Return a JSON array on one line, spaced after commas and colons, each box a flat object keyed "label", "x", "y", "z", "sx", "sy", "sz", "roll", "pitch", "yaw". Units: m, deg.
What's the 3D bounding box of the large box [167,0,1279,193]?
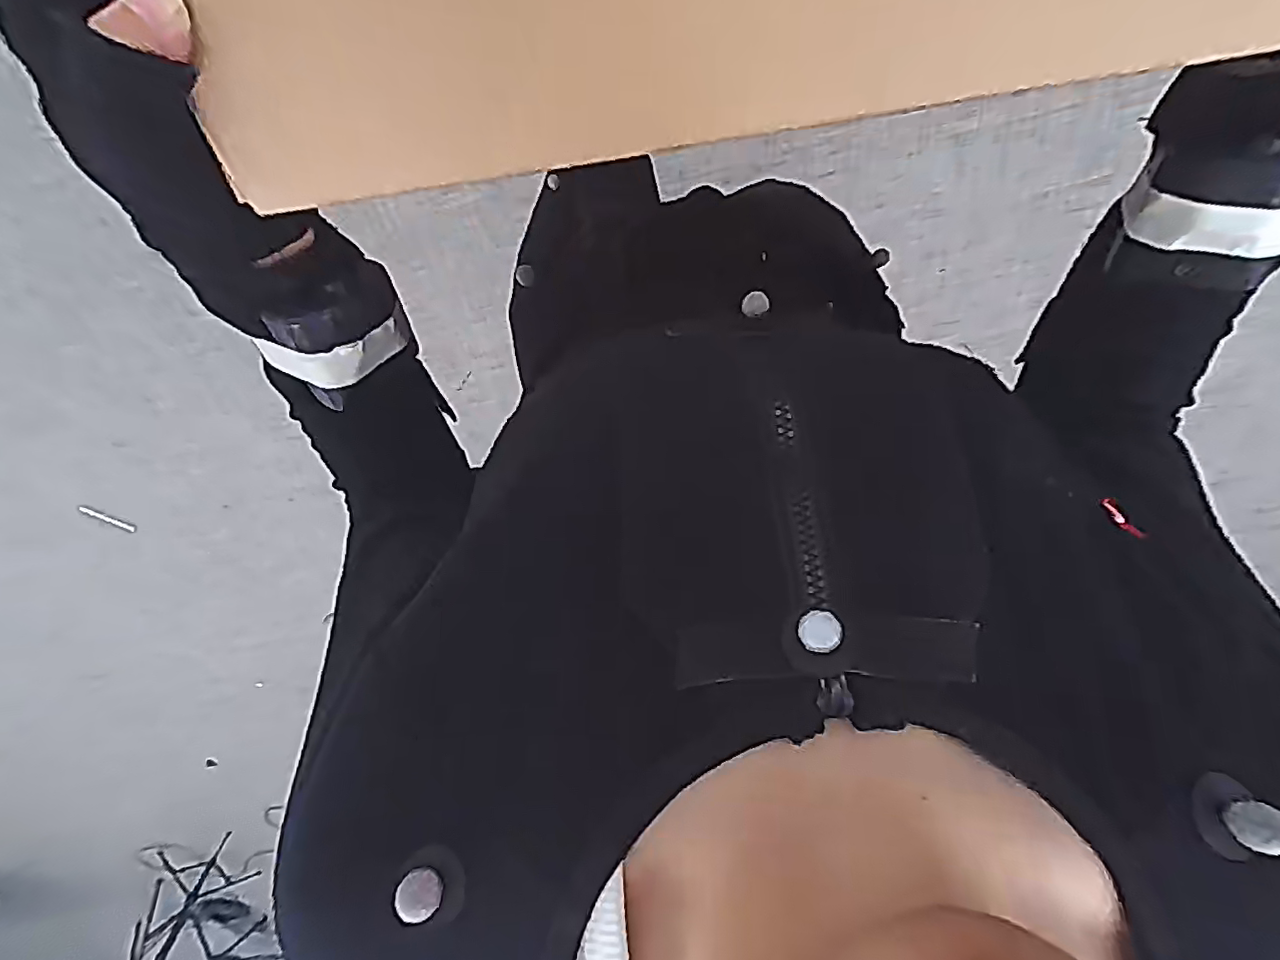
[{"label": "large box", "x": 0.016, "y": -0.354, "z": 0.219, "sx": 0.408, "sy": 0.320, "sz": 0.320, "roll": -8, "pitch": 132, "yaw": 3}]
